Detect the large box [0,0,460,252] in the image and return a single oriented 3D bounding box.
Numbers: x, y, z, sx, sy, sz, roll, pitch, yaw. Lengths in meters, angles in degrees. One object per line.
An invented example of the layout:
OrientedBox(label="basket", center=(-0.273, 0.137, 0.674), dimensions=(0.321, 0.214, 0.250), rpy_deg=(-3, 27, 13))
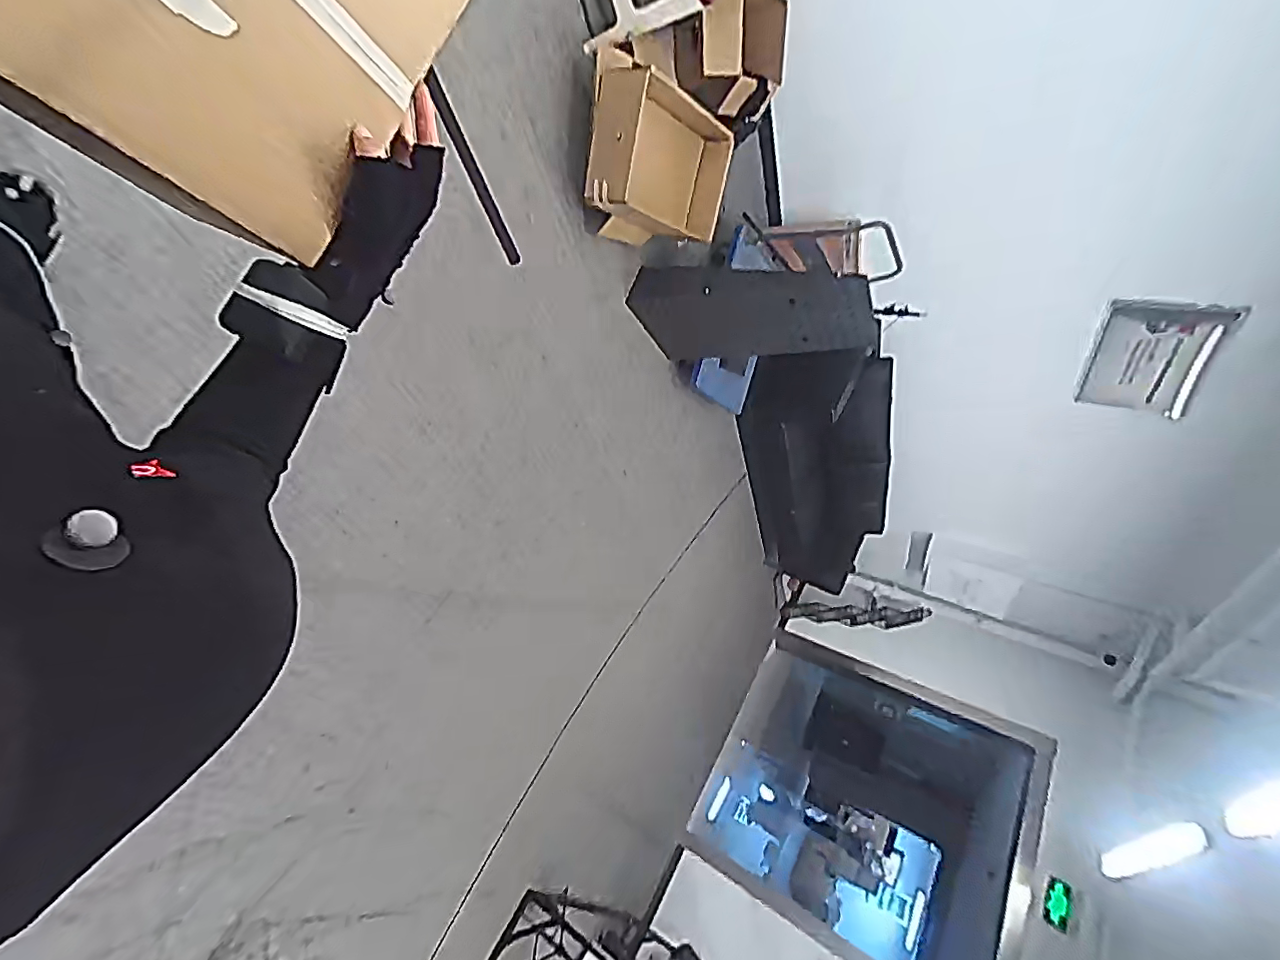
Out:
OrientedBox(label="large box", center=(-0.399, -0.427, 0.361), dimensions=(0.320, 0.320, 0.408), rpy_deg=(-61, 147, -1))
